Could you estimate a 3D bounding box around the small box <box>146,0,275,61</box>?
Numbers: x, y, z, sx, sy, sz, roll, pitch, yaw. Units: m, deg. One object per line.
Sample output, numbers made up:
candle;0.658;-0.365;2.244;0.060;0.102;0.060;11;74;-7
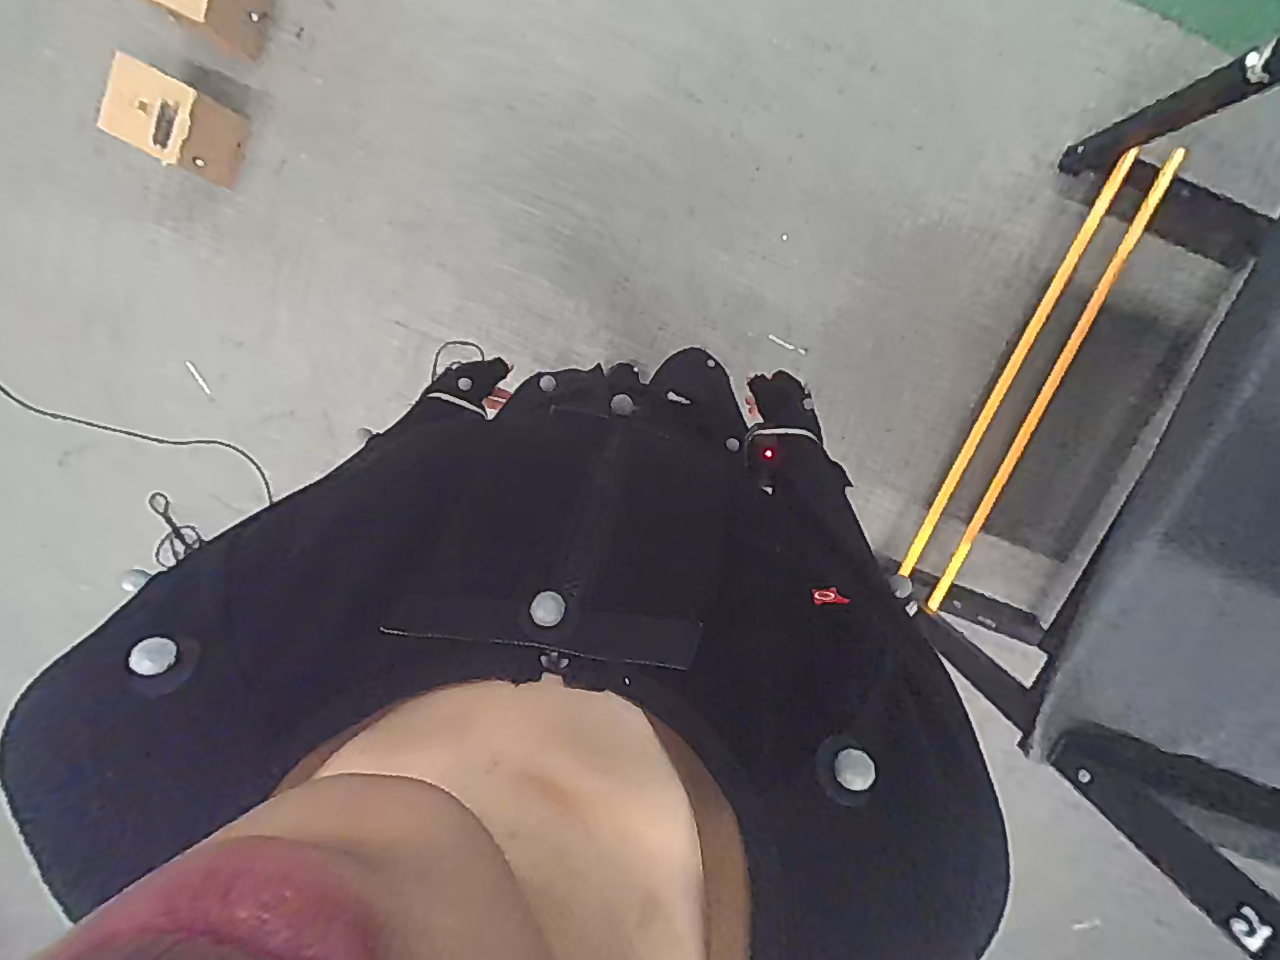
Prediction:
small box;-0.946;-1.064;1.171;0.179;0.176;0.168;23;101;-5
